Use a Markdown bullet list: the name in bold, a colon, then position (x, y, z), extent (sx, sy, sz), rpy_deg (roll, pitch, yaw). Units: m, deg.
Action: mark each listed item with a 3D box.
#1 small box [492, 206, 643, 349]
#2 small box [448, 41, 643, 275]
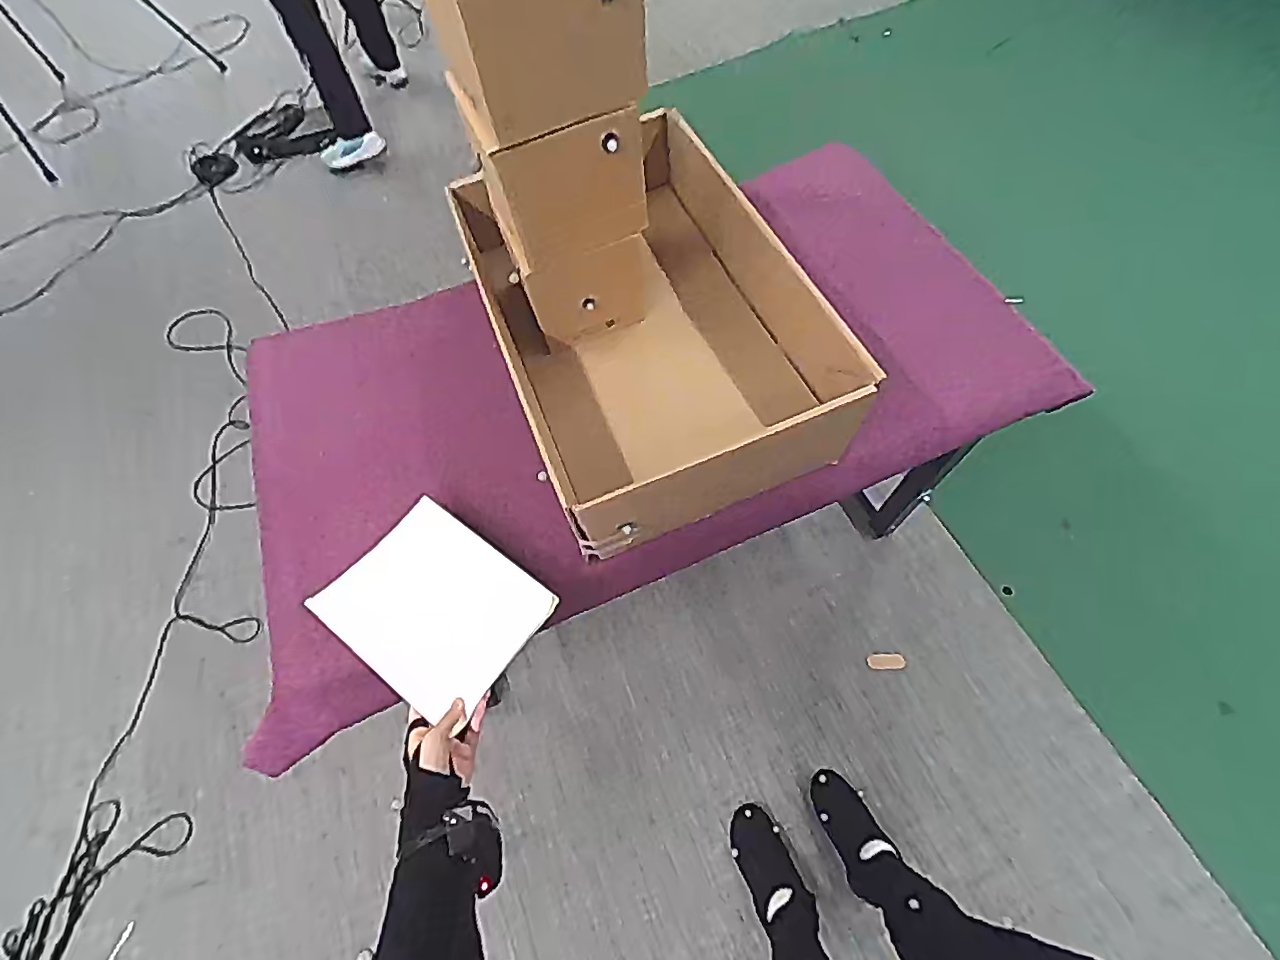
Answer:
- **small box**: position (-0.102, -0.324, 0.825), extent (0.168, 0.176, 0.179), rpy_deg (-22, 65, -6)
- **small box**: position (-0.108, -0.393, 0.679), extent (0.179, 0.176, 0.168), rpy_deg (-24, 65, -7)
